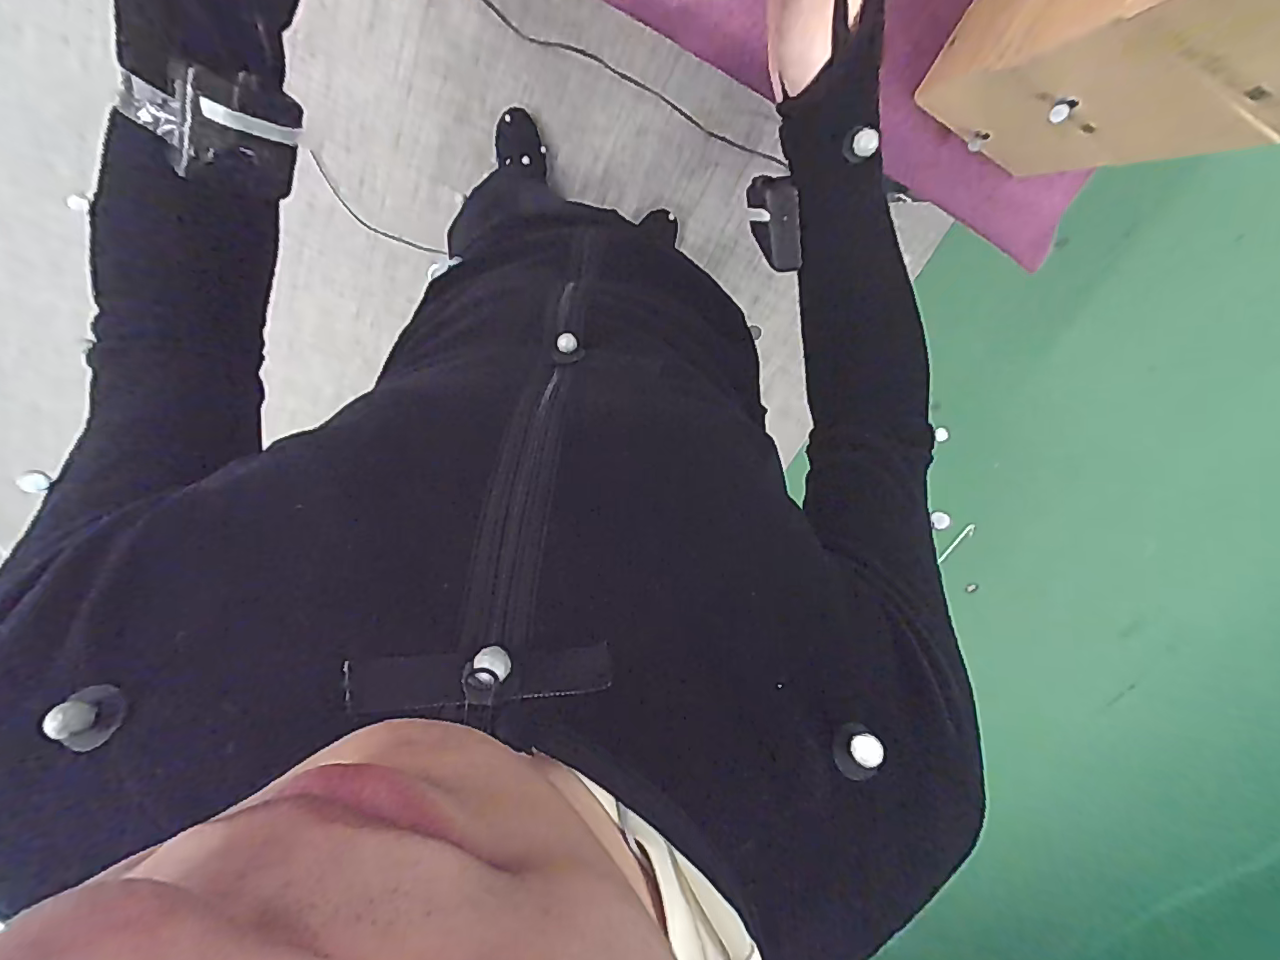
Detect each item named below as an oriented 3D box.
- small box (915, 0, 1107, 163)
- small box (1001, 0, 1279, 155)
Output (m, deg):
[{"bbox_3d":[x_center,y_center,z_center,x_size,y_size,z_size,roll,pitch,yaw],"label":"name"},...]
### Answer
[{"bbox_3d":[0.443,-0.465,0.576,0.179,0.176,0.168,27,113,-11],"label":"small box"},{"bbox_3d":[0.445,-0.394,0.428,0.168,0.176,0.179,27,114,-10],"label":"small box"}]
